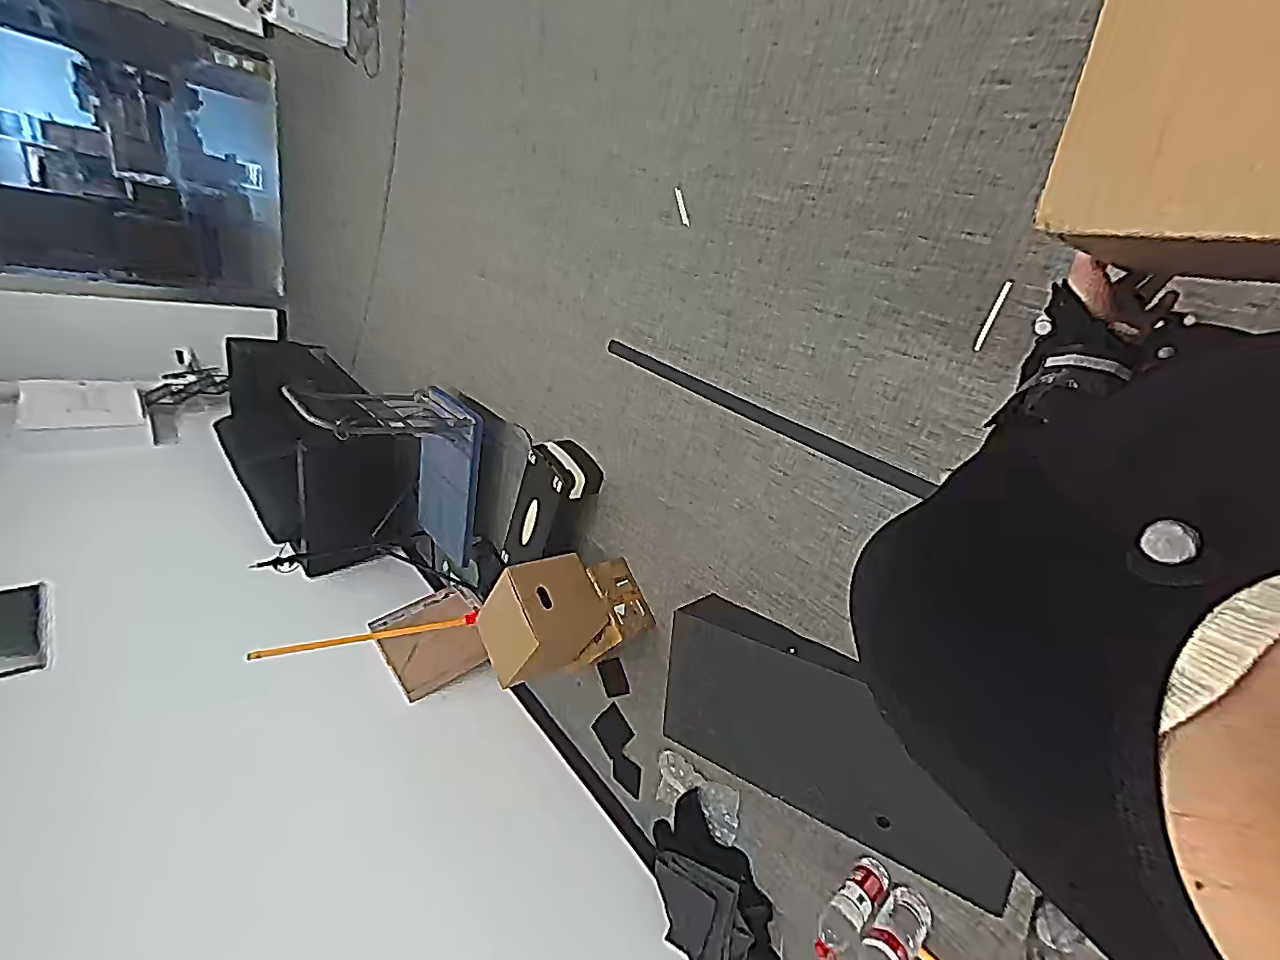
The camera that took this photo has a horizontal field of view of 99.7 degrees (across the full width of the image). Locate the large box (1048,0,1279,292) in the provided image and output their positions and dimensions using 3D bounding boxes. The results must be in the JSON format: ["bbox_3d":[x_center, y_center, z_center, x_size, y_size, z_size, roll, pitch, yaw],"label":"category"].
[{"bbox_3d":[0.501,-0.248,0.244,0.408,0.320,0.320,26,119,42],"label":"large box"}]
